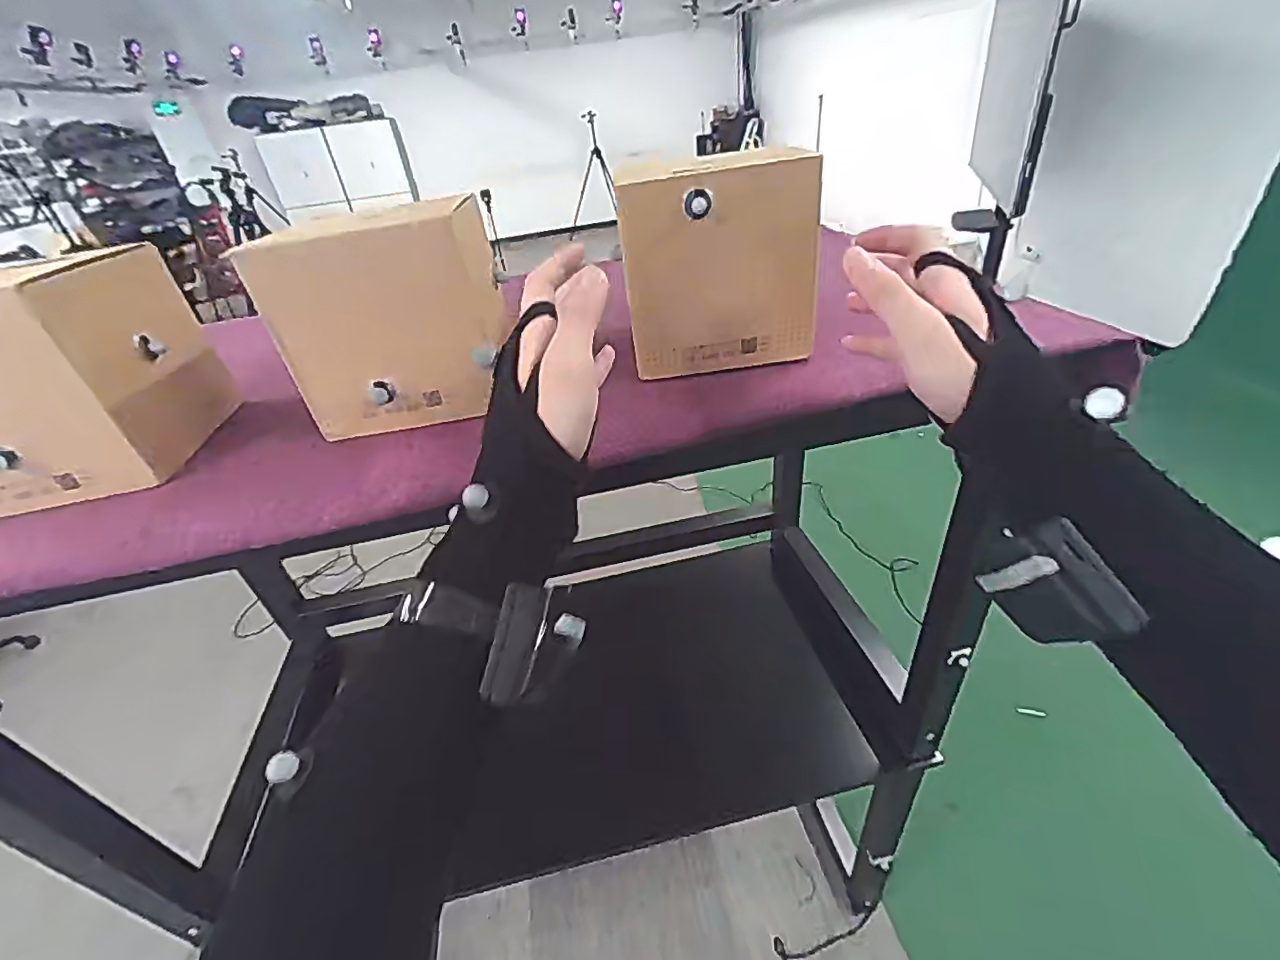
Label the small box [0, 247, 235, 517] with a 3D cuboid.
[{"bbox_3d":[-0.502,-0.089,0.471,0.168,0.176,0.179,-12,35,-6],"label":"small box"}]

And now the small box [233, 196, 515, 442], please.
[{"bbox_3d":[-0.222,-0.157,0.514,0.168,0.176,0.179,-11,35,-2],"label":"small box"}]

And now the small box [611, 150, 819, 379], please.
[{"bbox_3d":[0.066,-0.215,0.533,0.168,0.176,0.179,-8,33,3],"label":"small box"}]
